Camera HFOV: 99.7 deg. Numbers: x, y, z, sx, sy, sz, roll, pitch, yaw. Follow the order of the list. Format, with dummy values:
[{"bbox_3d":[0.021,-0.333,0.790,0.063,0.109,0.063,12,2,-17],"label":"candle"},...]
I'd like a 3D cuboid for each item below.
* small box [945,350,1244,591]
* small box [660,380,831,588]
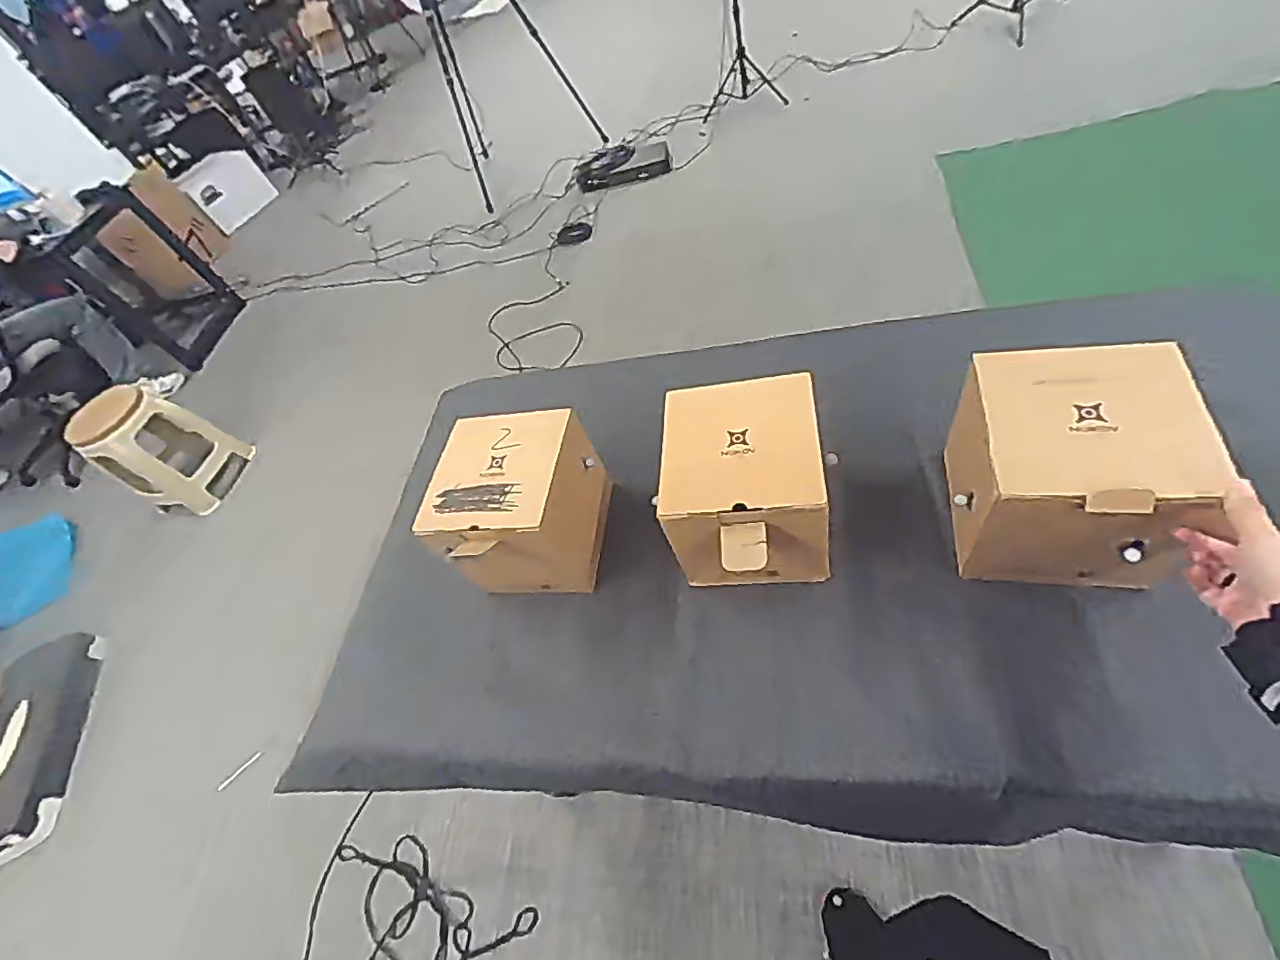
[{"bbox_3d":[0.418,-0.004,0.540,0.168,0.176,0.179,1,55,18],"label":"small box"},{"bbox_3d":[0.126,0.011,0.632,0.168,0.176,0.179,-5,55,15],"label":"small box"}]
